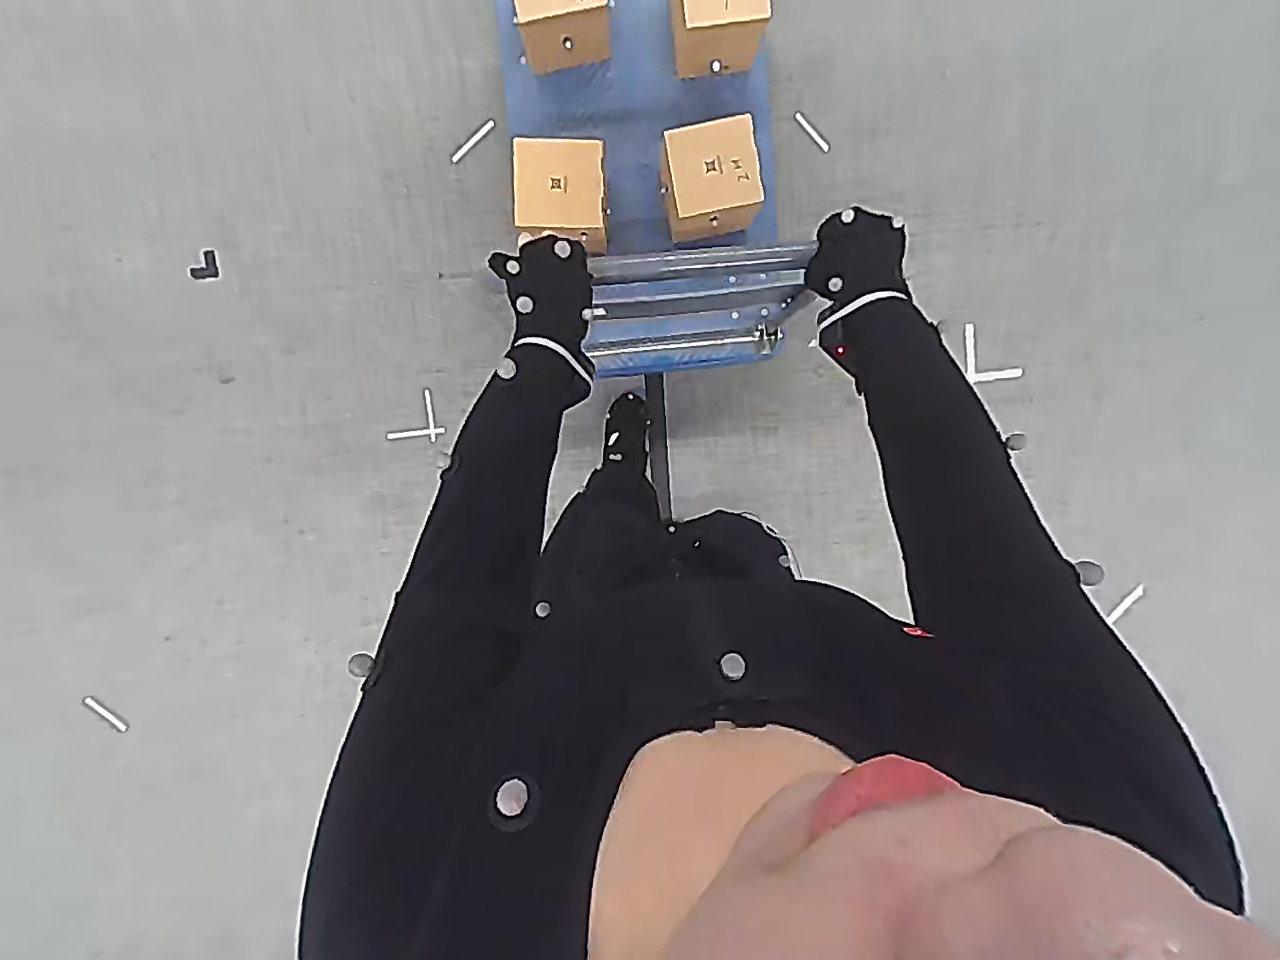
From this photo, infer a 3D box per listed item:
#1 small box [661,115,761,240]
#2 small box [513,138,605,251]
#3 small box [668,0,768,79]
[{"bbox_3d":[0.142,-0.627,1.143,0.179,0.176,0.168,-11,97,1],"label":"small box"},{"bbox_3d":[-0.164,-0.593,1.142,0.179,0.176,0.168,0,97,-3],"label":"small box"},{"bbox_3d":[0.151,-0.966,1.100,0.168,0.176,0.179,-8,98,0],"label":"small box"}]
